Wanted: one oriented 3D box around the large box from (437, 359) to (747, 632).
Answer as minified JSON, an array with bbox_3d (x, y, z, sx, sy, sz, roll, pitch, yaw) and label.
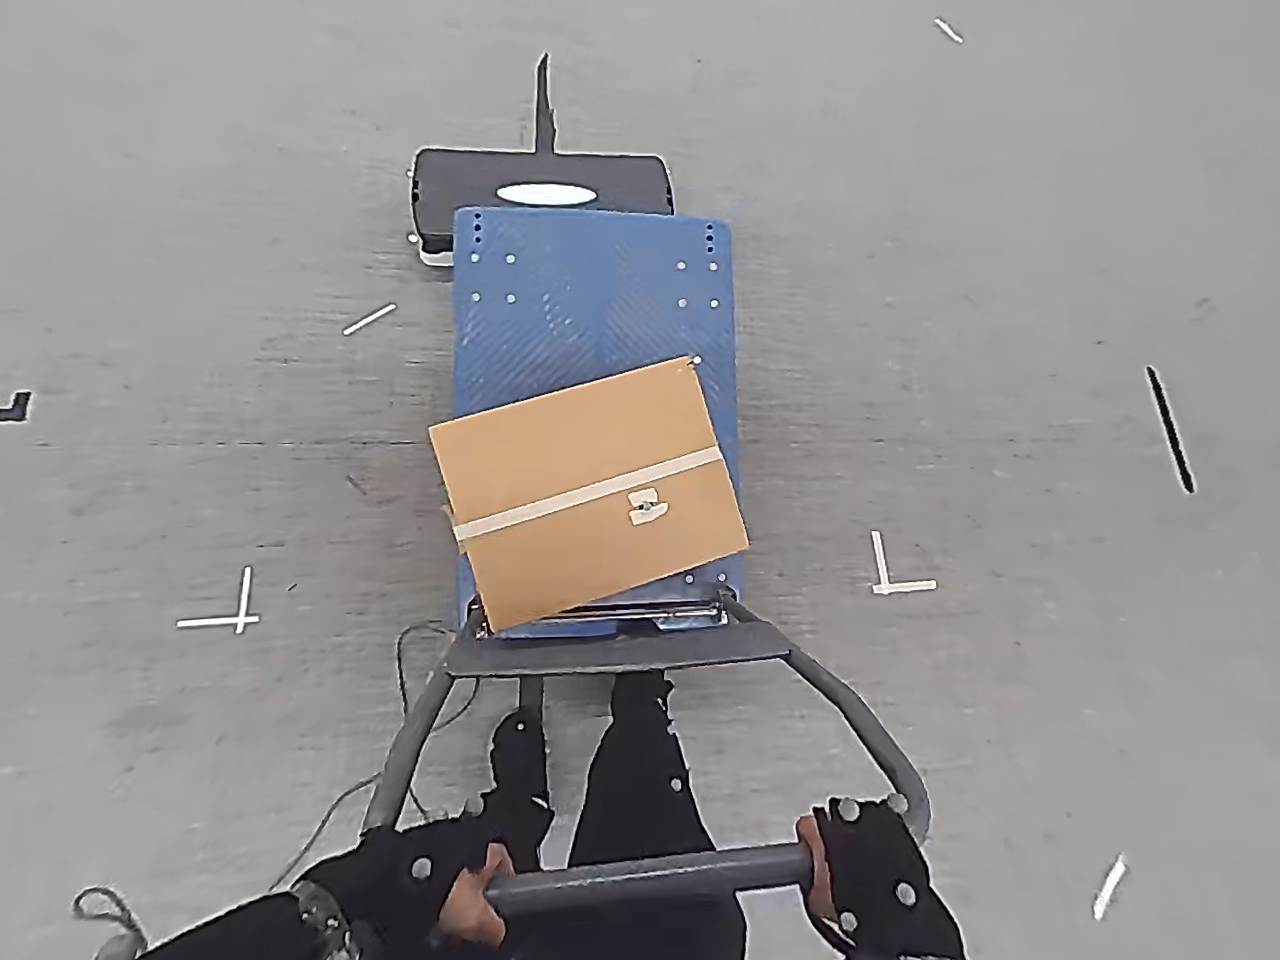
[{"bbox_3d":[-0.087,0.025,0.955,0.408,0.320,0.320,-18,91,-10],"label":"large box"}]
